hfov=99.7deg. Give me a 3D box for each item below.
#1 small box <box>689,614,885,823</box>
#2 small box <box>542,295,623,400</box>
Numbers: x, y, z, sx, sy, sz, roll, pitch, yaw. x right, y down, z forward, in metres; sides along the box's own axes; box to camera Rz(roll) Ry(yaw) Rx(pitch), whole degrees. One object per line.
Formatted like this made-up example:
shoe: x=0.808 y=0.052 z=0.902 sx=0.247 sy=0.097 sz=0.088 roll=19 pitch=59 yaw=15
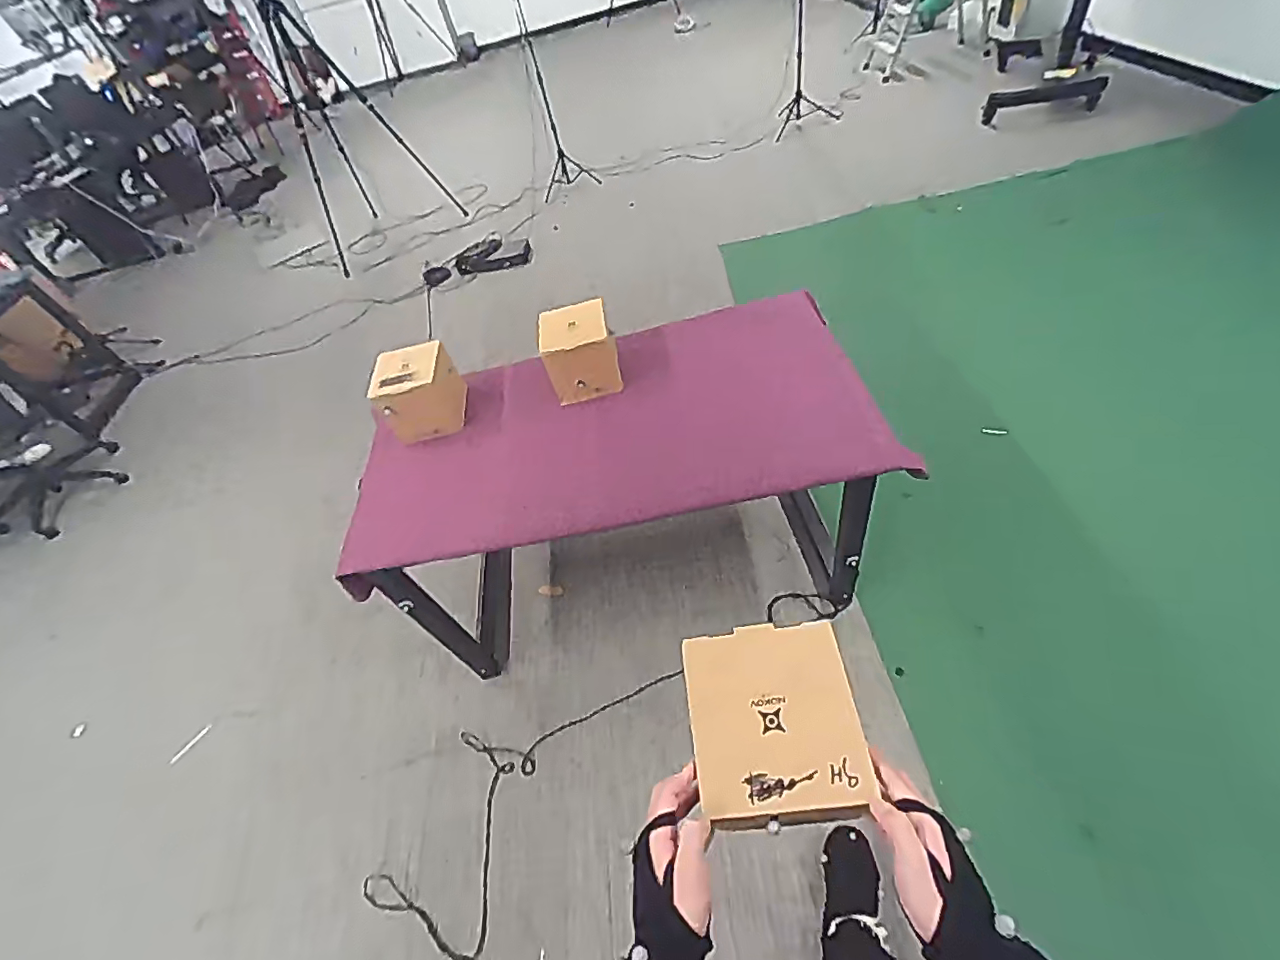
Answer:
small box: x=0.150 y=0.271 z=0.604 sx=0.168 sy=0.176 sz=0.179 roll=-9 pitch=54 yaw=7
small box: x=-0.144 y=-0.331 z=1.360 sx=0.168 sy=0.176 sz=0.179 roll=-12 pitch=50 yaw=3
